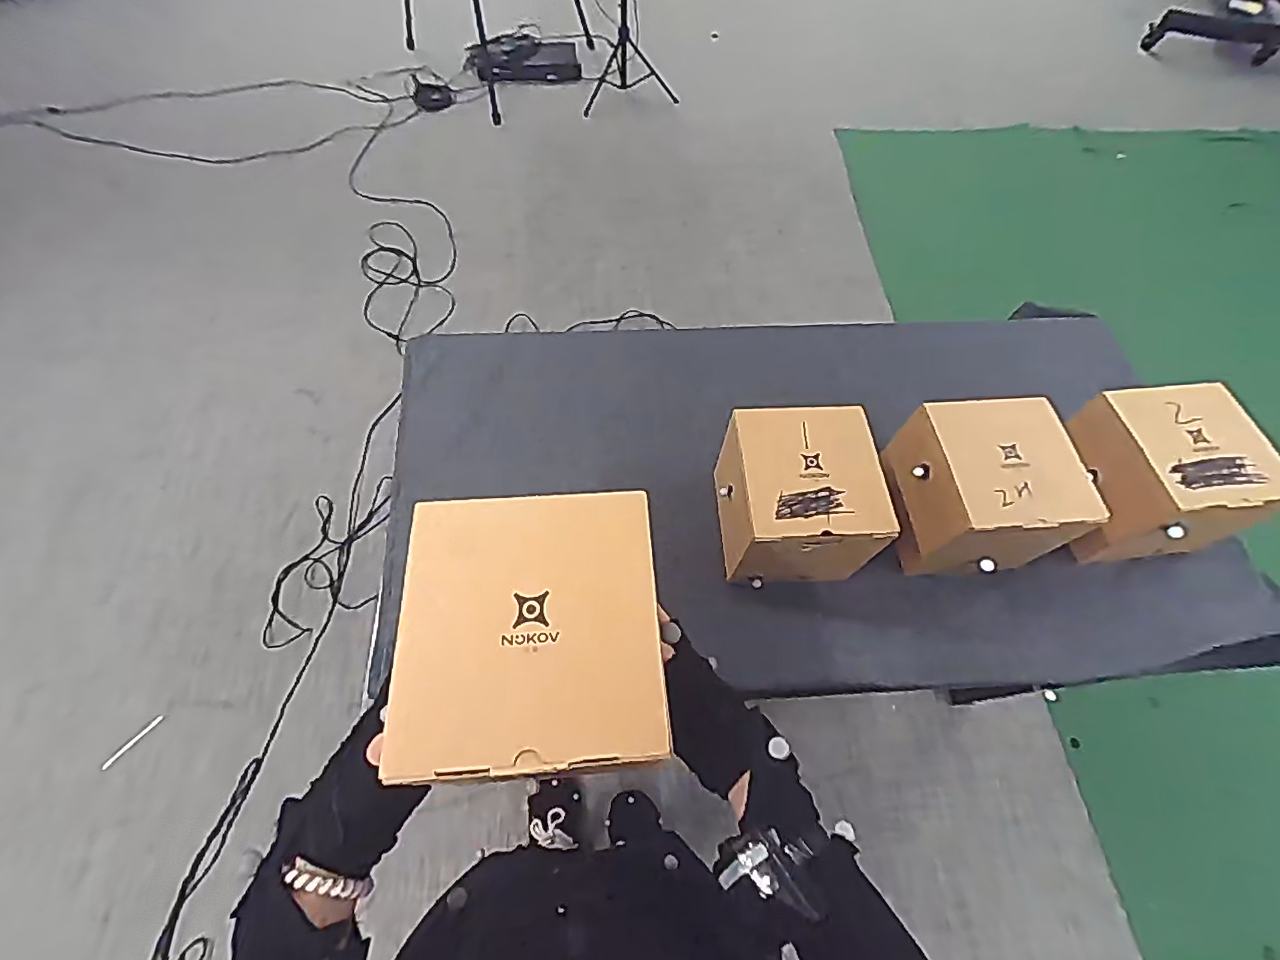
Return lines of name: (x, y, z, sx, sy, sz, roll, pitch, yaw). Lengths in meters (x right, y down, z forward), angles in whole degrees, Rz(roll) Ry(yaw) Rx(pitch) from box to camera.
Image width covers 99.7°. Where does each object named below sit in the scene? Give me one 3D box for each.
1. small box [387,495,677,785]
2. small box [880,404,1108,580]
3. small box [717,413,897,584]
small box: (-0.071, 0.128, 0.415, 0.168, 0.176, 0.179, -3, 61, -5)
small box: (0.441, 0.020, 0.717, 0.168, 0.176, 0.179, -3, 62, -3)
small box: (0.199, 0.032, 0.703, 0.168, 0.176, 0.179, -1, 61, -3)
